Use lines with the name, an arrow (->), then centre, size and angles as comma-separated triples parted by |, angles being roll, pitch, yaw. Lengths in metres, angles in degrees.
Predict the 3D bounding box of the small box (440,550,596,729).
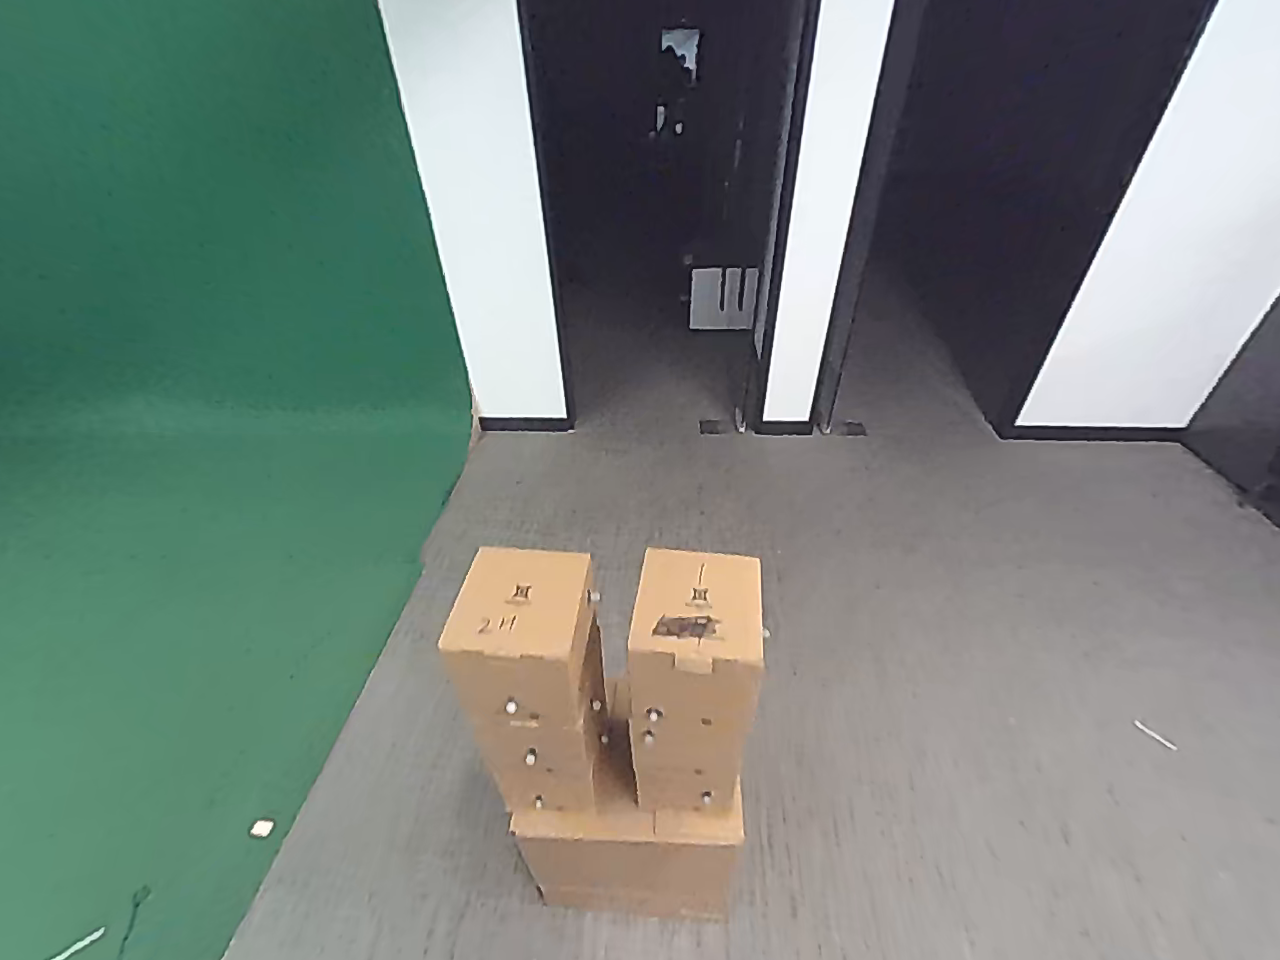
small box -> -0.157, 0.223, 0.768 | 0.168, 0.176, 0.179 | 3, 40, 5

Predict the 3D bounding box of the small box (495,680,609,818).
small box -> -0.148, 0.478, 0.977 | 0.168, 0.176, 0.179 | 2, 40, 4

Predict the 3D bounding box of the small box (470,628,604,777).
small box -> -0.151, 0.354, 0.870 | 0.168, 0.176, 0.179 | 3, 40, 4

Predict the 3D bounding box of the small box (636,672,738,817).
small box -> 0.089, 0.474, 0.969 | 0.168, 0.176, 0.179 | 3, 38, 7
